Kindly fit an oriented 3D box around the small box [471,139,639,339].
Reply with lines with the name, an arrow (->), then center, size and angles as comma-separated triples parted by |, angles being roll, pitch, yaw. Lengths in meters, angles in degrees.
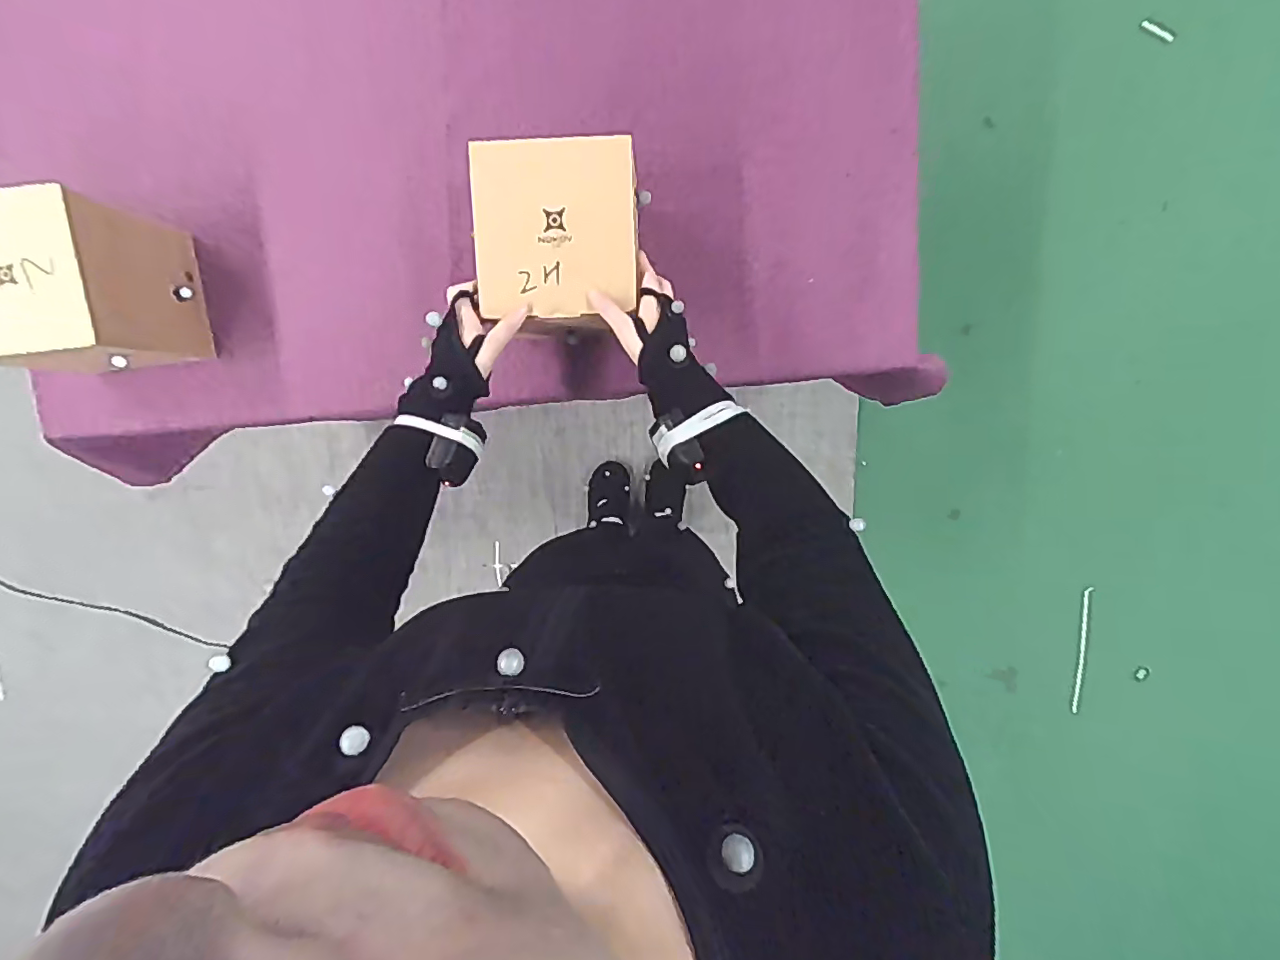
small box -> -0.086, -0.264, 0.629 | 0.168, 0.176, 0.179 | -1, 99, 2
